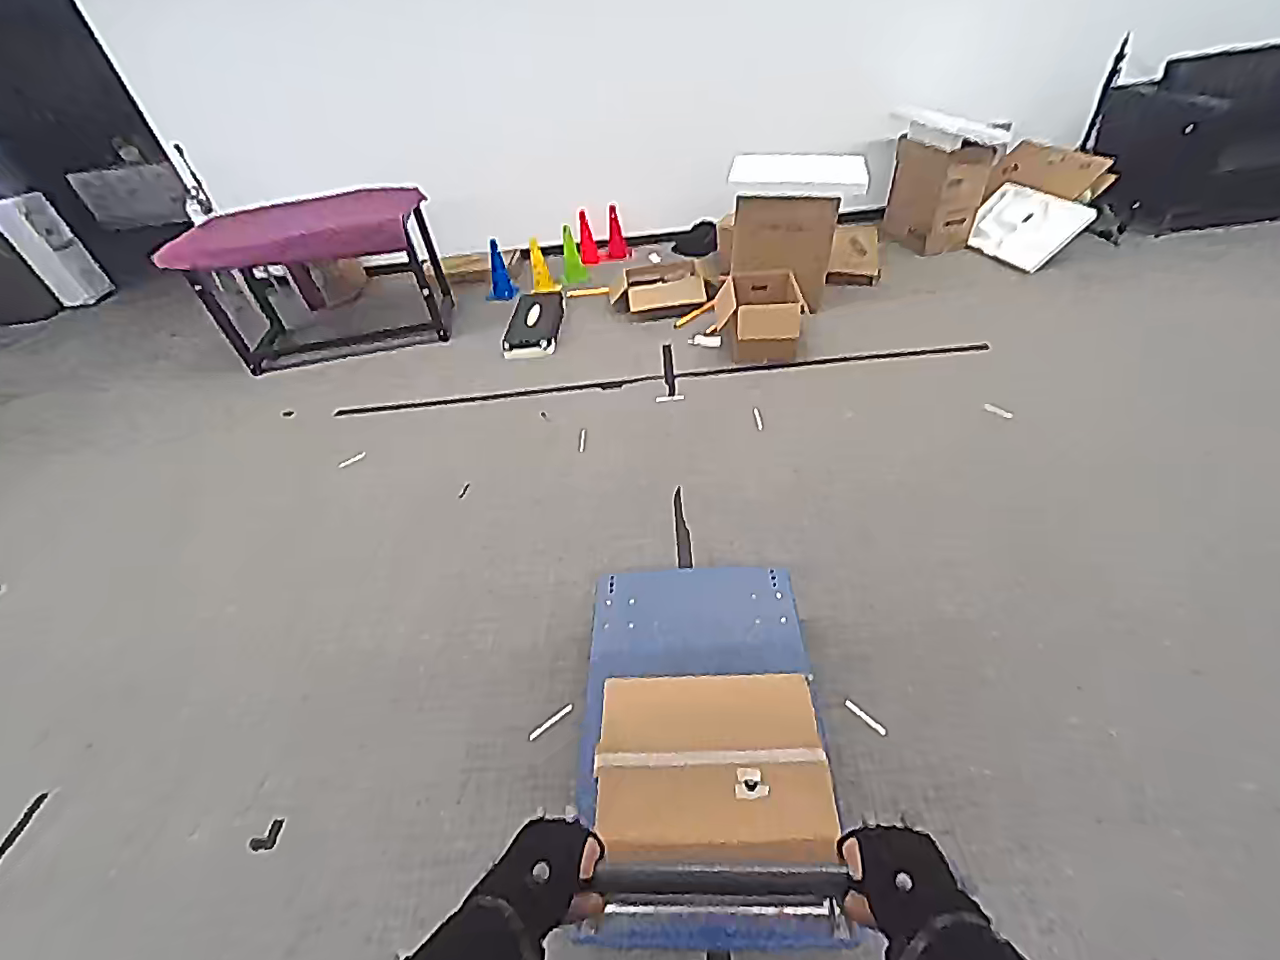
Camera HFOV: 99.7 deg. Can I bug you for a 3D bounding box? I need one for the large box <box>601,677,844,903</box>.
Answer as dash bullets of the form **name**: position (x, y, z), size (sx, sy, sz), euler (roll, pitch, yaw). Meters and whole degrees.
- **large box**: position (0.141, 0.621, 1.083), size (0.408, 0.320, 0.320), euler (-3, 43, 3)
